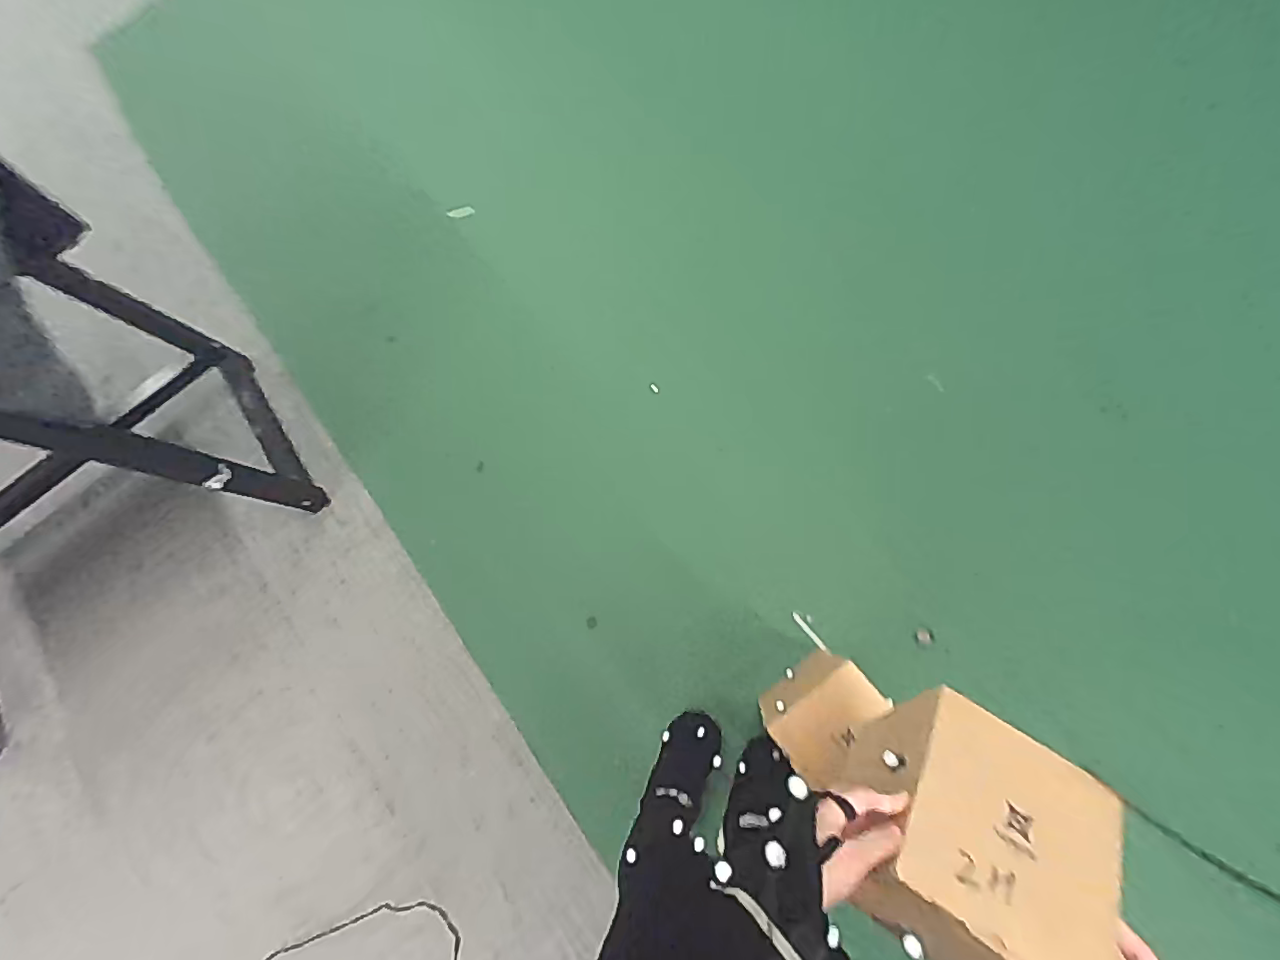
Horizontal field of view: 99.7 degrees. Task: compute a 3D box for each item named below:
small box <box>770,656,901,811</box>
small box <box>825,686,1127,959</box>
[{"bbox_3d":[0.339,0.420,0.918,0.179,0.176,0.168,-40,74,-1],"label":"small box"},{"bbox_3d":[0.299,0.332,0.507,0.168,0.176,0.179,30,57,14],"label":"small box"}]
